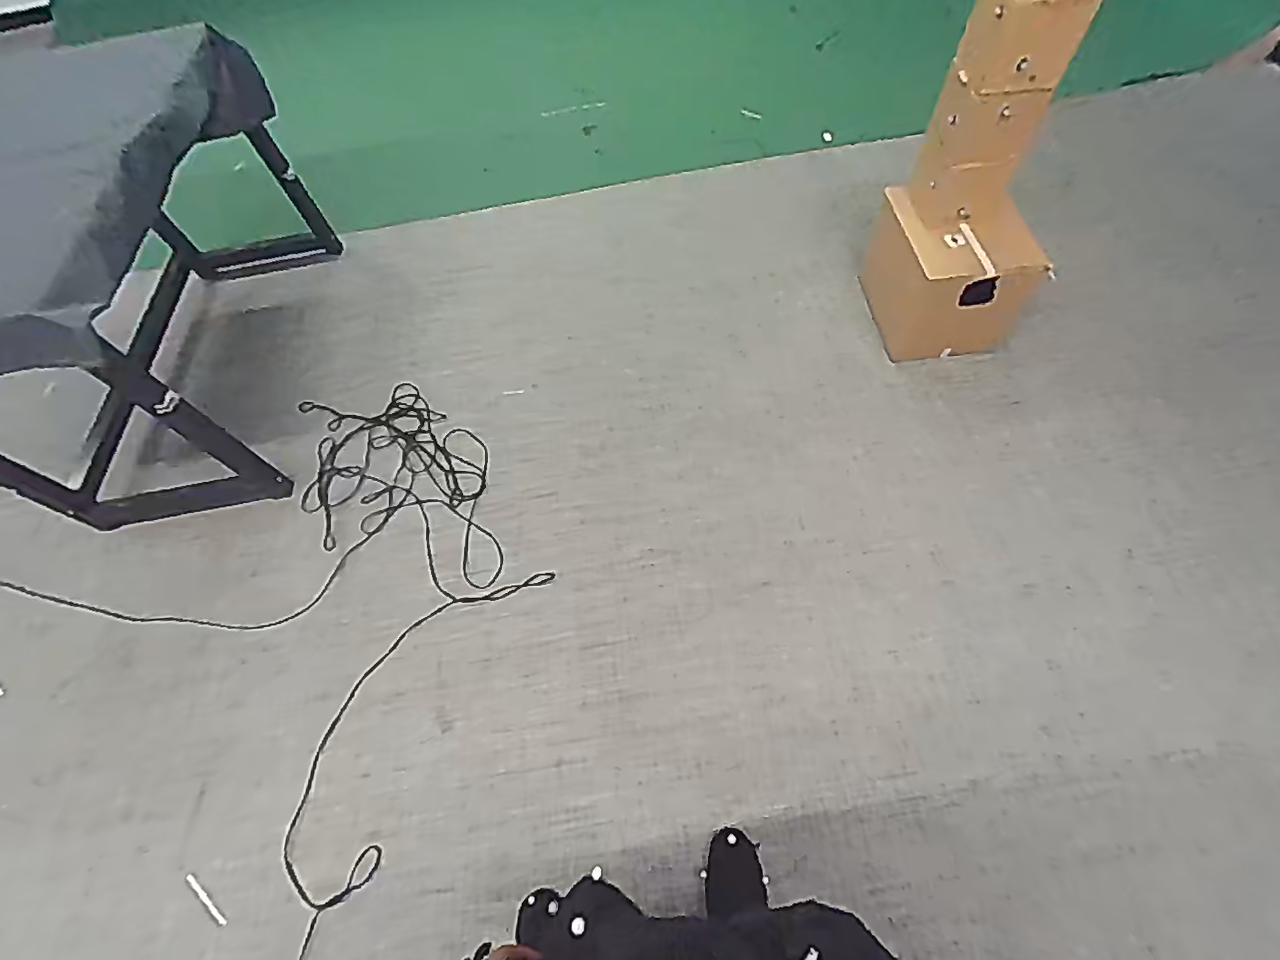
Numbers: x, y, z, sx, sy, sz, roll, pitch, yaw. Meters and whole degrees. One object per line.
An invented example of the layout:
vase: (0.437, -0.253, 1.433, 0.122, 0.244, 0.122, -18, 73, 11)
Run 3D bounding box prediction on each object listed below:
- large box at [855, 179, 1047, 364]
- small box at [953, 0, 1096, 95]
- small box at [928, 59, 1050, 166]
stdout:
large box: (0.881, -0.612, 1.604, 0.320, 0.320, 0.408, -7, 61, 3)
small box: (0.802, -0.959, 1.151, 0.168, 0.176, 0.179, -3, 63, 4)
small box: (0.816, -0.880, 1.293, 0.179, 0.176, 0.168, -4, 63, 3)
